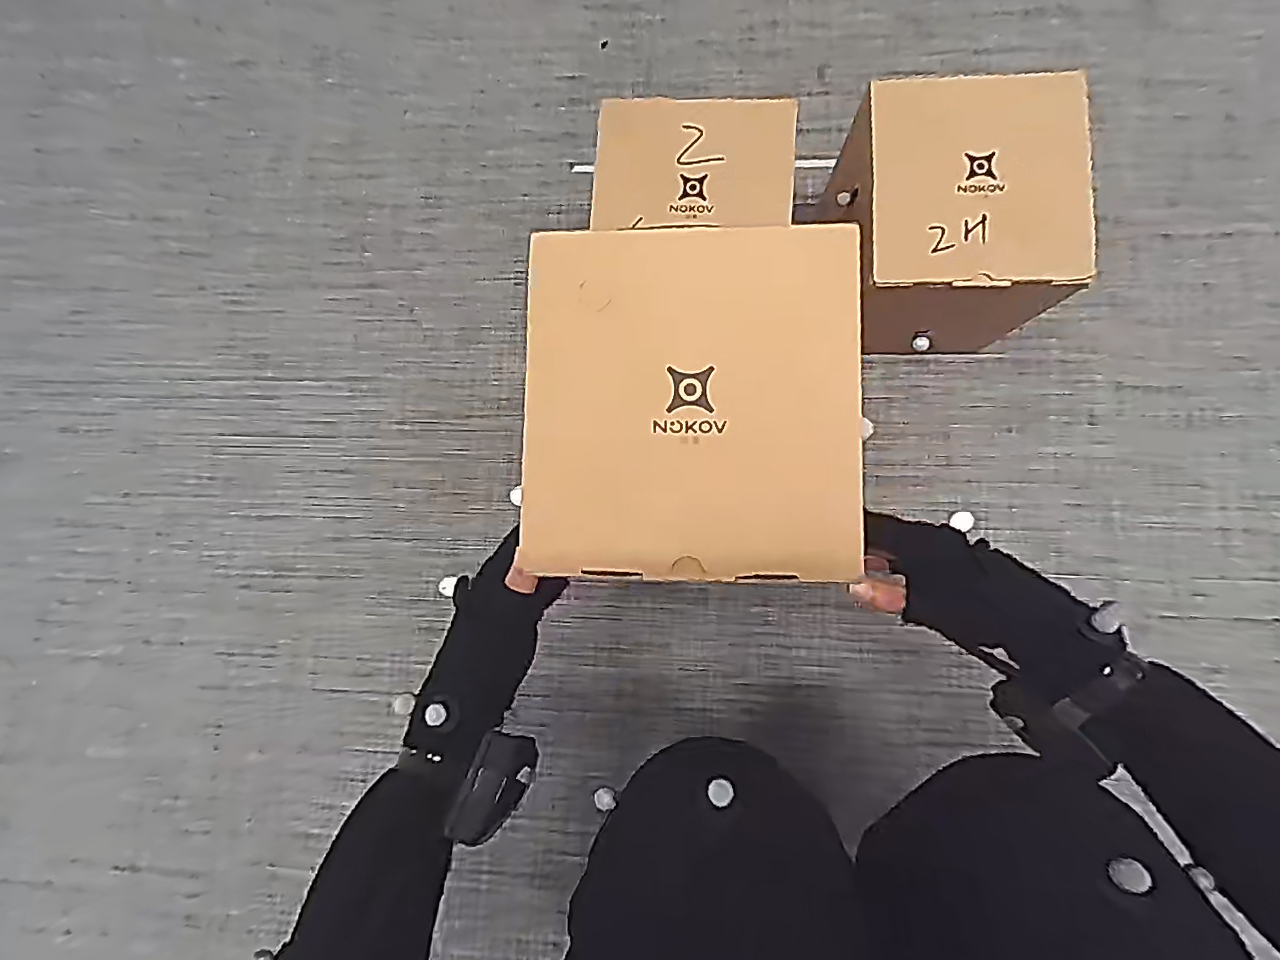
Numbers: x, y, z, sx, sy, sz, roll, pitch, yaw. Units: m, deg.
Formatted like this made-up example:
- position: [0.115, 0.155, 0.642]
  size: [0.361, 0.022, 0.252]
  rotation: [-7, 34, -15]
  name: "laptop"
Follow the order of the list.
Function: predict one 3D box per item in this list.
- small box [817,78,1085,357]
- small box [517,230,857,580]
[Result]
- position: [0.268, -0.228, 0.507]
  size: [0.168, 0.176, 0.179]
  rotation: [1, 85, 5]
  name: "small box"
- position: [0.028, -0.032, 0.346]
  size: [0.168, 0.176, 0.179]
  rotation: [0, 86, 5]
  name: "small box"
